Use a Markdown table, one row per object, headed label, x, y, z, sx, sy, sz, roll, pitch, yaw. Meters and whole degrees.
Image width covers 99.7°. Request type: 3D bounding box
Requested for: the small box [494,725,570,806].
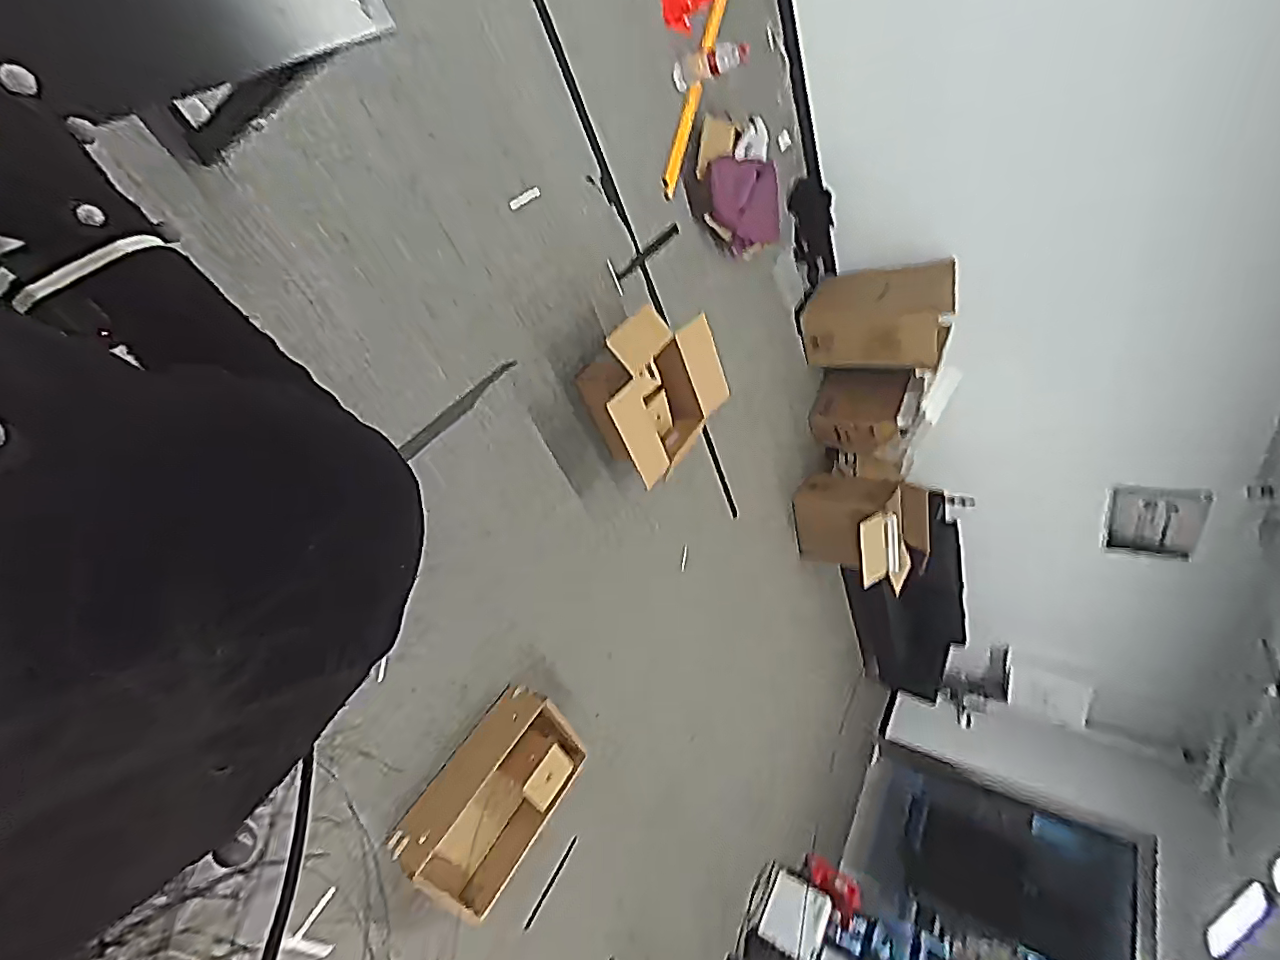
| label | x | y | z | sx | sy | sz | roll | pitch | yaw |
| --- | --- | --- | --- | --- | --- | --- | --- | --- | --- |
| small box | -0.392 | 1.028 | 1.963 | 0.179 | 0.176 | 0.168 | -49 | 128 | -34 |
